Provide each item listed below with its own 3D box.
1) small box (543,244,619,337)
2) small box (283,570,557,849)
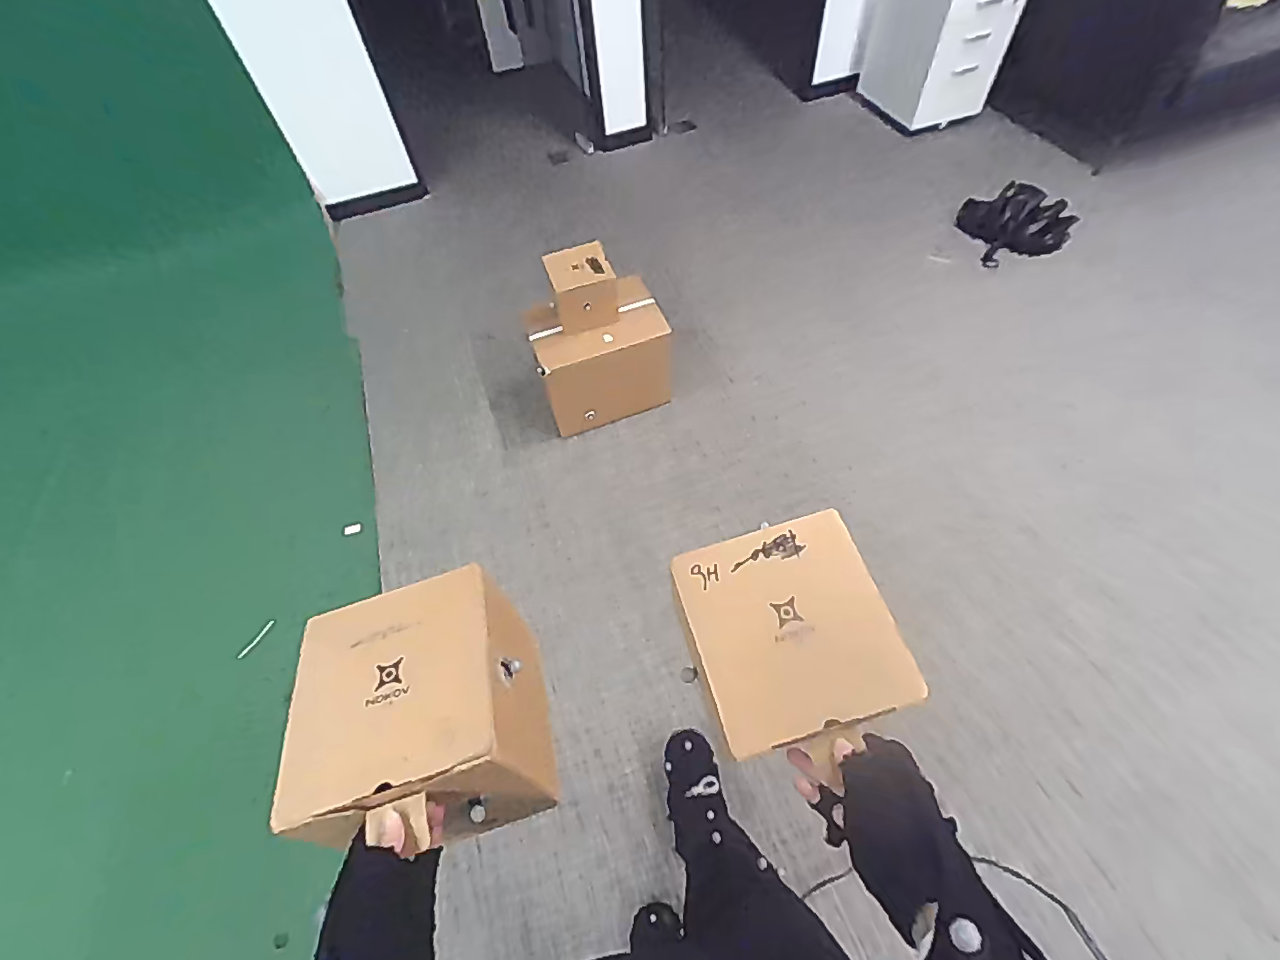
[{"bbox_3d":[-0.169,-0.557,1.599,0.179,0.176,0.168,-21,63,-9],"label":"small box"},{"bbox_3d":[-0.188,0.221,0.509,0.168,0.176,0.179,-19,46,-2],"label":"small box"}]
